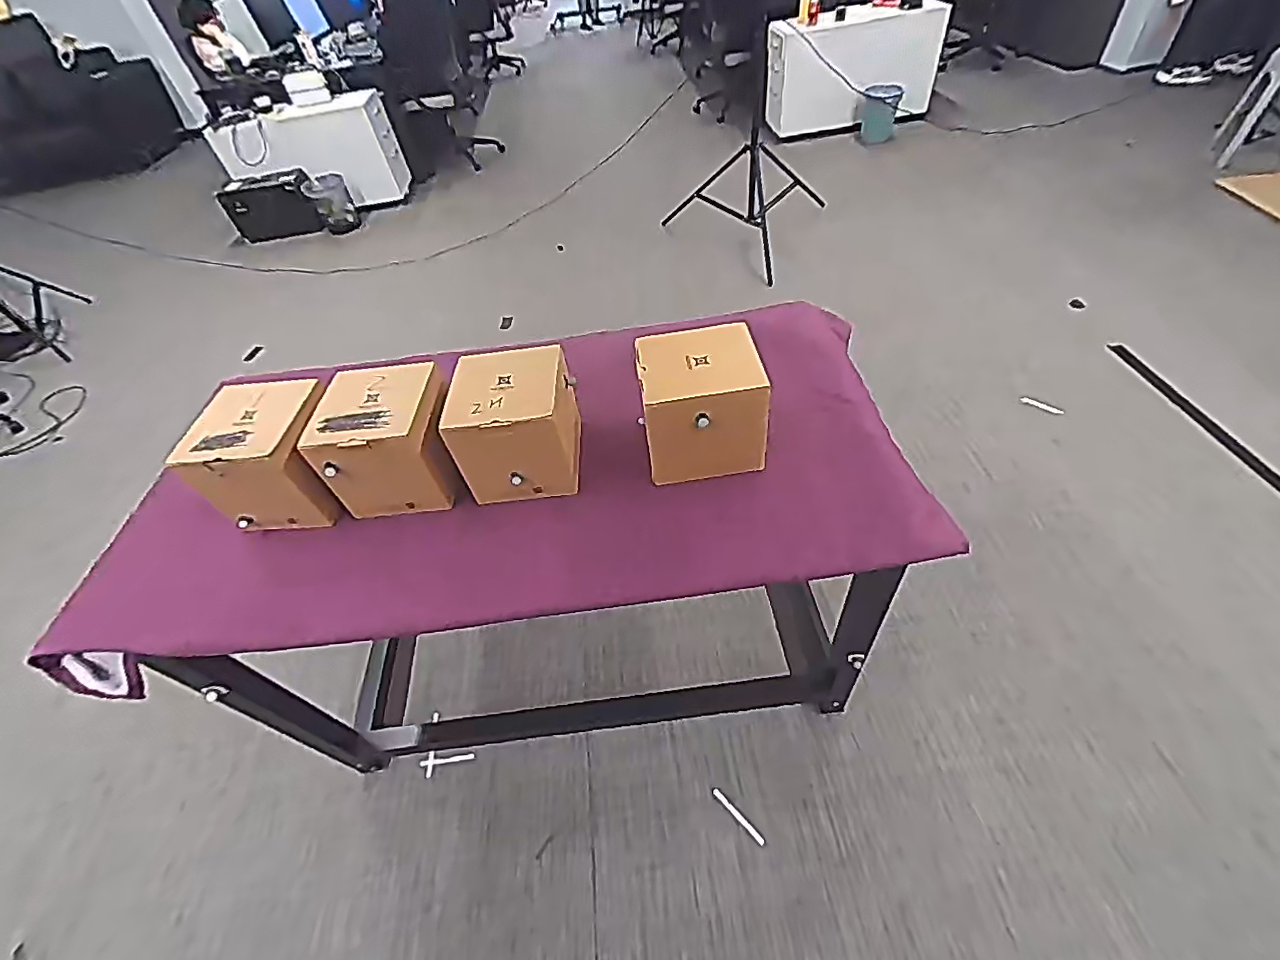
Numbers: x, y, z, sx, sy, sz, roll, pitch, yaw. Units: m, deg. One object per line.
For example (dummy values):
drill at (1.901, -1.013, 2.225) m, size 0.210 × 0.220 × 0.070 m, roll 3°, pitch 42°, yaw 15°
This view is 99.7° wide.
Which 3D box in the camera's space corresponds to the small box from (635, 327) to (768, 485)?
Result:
small box at (0.092, -0.113, 0.847) m, size 0.179 × 0.176 × 0.168 m, roll -9°, pitch 47°, yaw 2°
